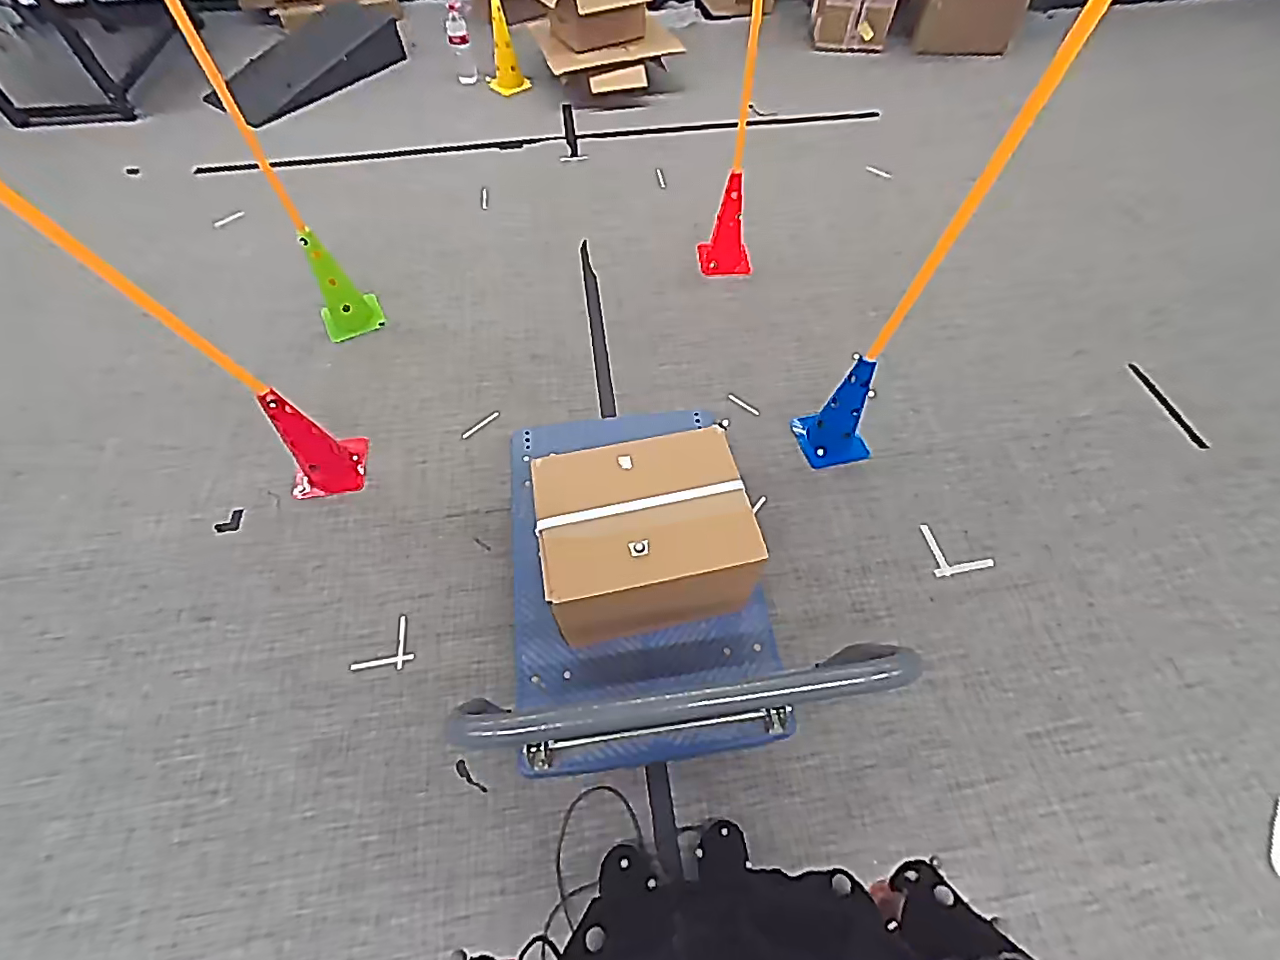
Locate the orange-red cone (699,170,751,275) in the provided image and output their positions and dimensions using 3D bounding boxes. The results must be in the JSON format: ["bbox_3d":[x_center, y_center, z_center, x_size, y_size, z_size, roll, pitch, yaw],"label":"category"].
[{"bbox_3d":[0.343,-0.977,2.028,0.199,0.360,0.198,-1,59,-2],"label":"orange-red cone"}]

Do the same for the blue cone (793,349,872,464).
[{"bbox_3d":[0.602,-0.226,1.584,0.193,0.380,0.192,-11,58,-7],"label":"blue cone"}]
